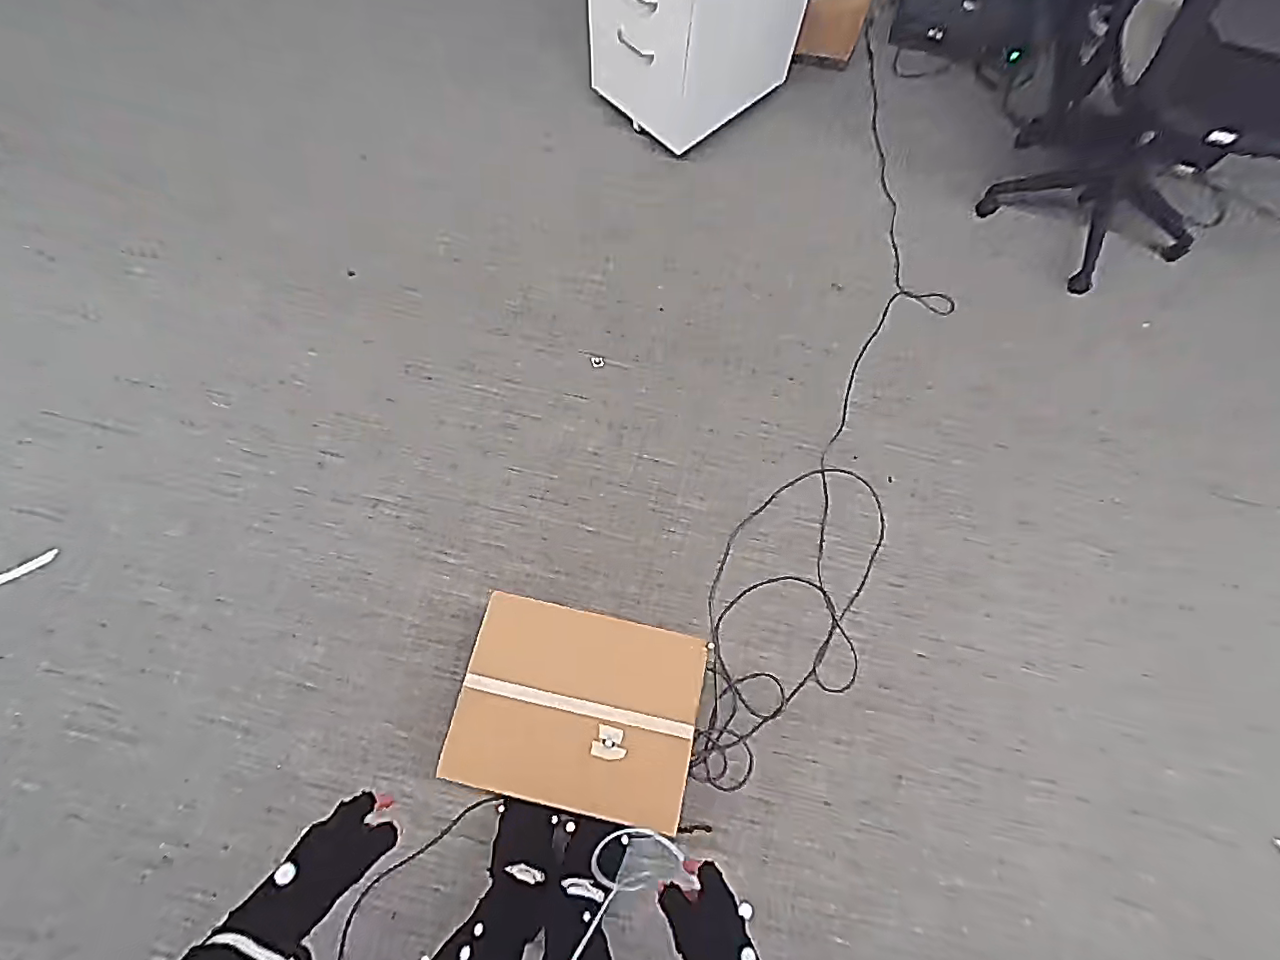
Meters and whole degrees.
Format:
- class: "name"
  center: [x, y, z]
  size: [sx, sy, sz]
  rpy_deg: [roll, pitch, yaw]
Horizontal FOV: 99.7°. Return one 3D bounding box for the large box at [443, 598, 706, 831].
- class: "large box"
  center: [-0.112, 0.446, 1.076]
  size: [0.408, 0.320, 0.320]
  rpy_deg: [13, 70, 2]
